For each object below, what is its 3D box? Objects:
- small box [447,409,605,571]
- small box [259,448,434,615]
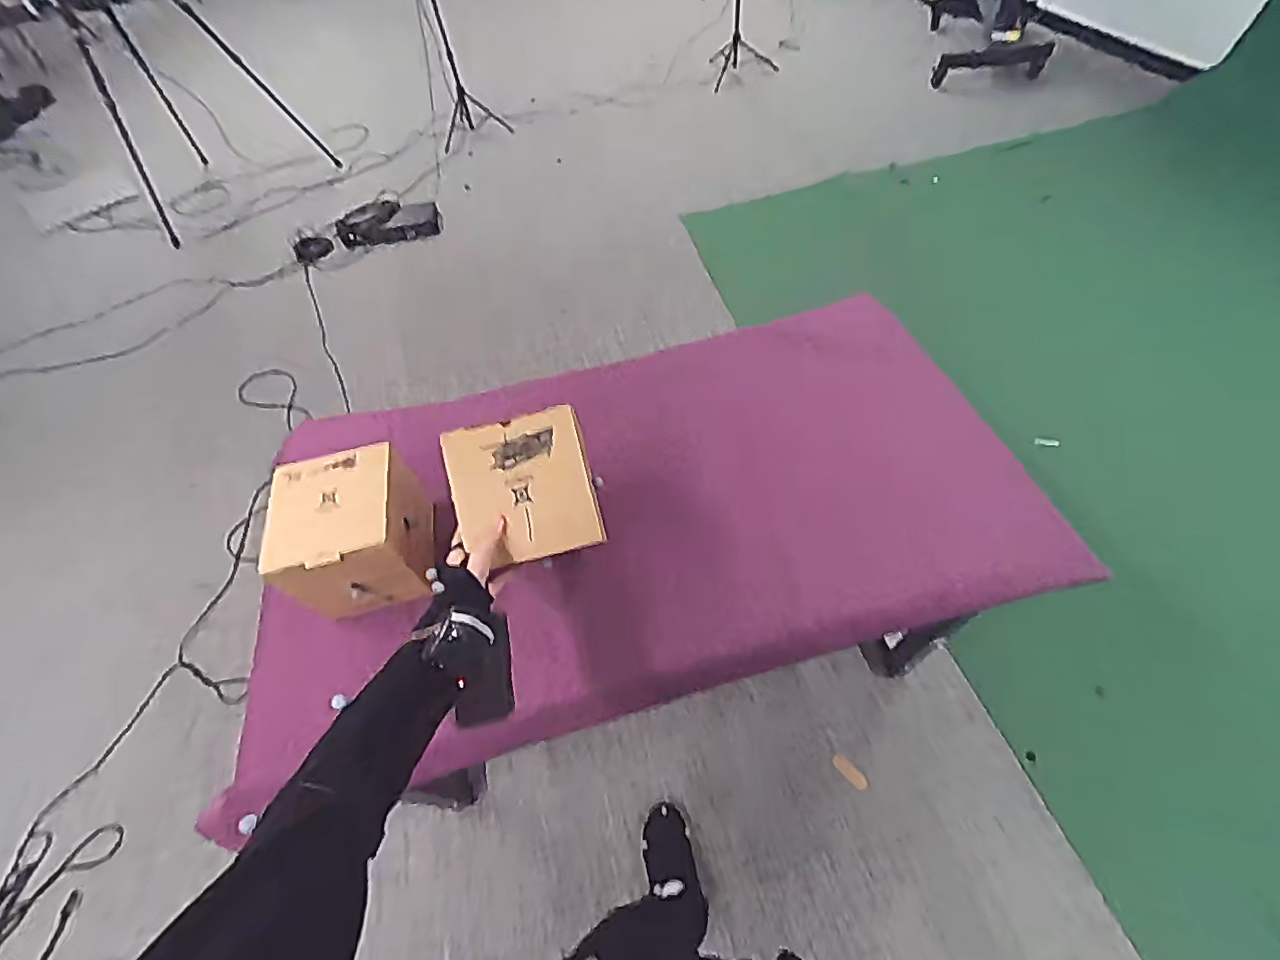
[{"bbox_3d":[-0.146,0.022,0.740,0.168,0.176,0.179,-13,83,-3],"label":"small box"},{"bbox_3d":[-0.417,0.085,0.802,0.168,0.176,0.179,-14,55,-4],"label":"small box"}]
